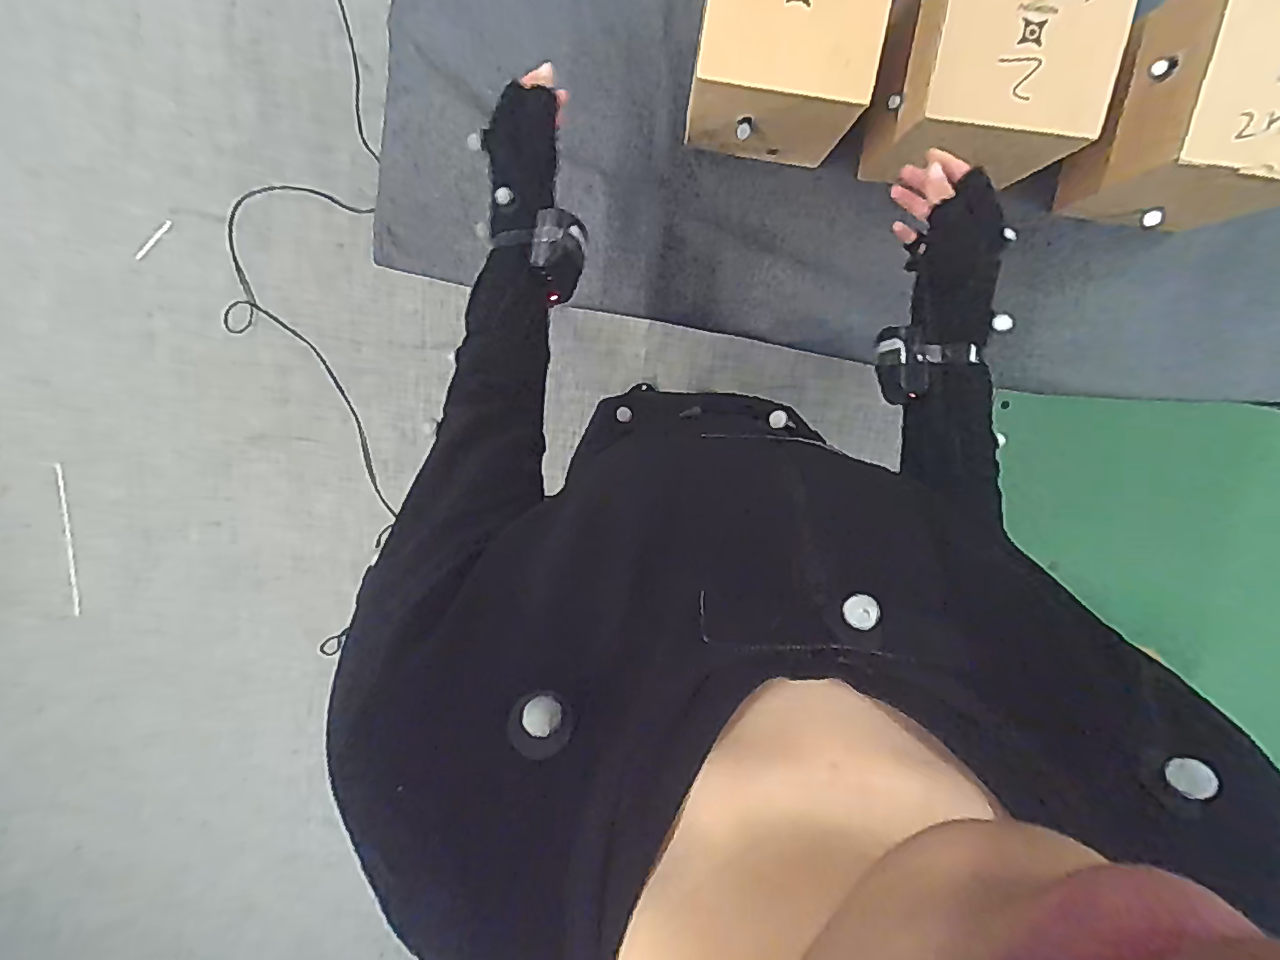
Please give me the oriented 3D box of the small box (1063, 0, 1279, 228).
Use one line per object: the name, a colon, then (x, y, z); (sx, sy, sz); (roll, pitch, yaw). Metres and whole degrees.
small box: (0.593, -0.385, 0.560); (0.168, 0.176, 0.179); (8, 101, 1)
